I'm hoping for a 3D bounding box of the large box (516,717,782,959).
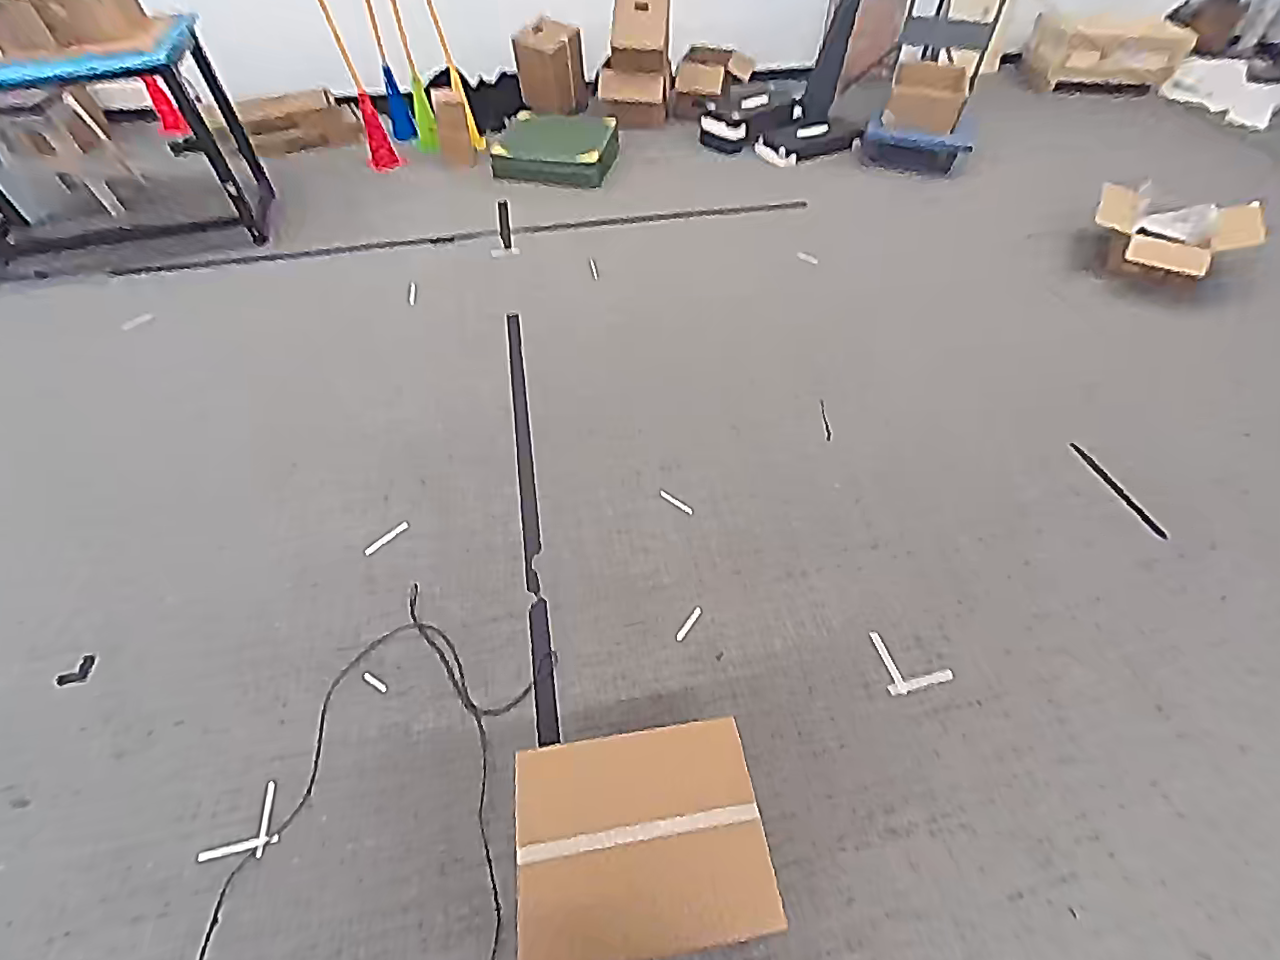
[{"bbox_3d":[-0.004,0.679,1.008,0.408,0.320,0.320,-6,52,-6],"label":"large box"}]
